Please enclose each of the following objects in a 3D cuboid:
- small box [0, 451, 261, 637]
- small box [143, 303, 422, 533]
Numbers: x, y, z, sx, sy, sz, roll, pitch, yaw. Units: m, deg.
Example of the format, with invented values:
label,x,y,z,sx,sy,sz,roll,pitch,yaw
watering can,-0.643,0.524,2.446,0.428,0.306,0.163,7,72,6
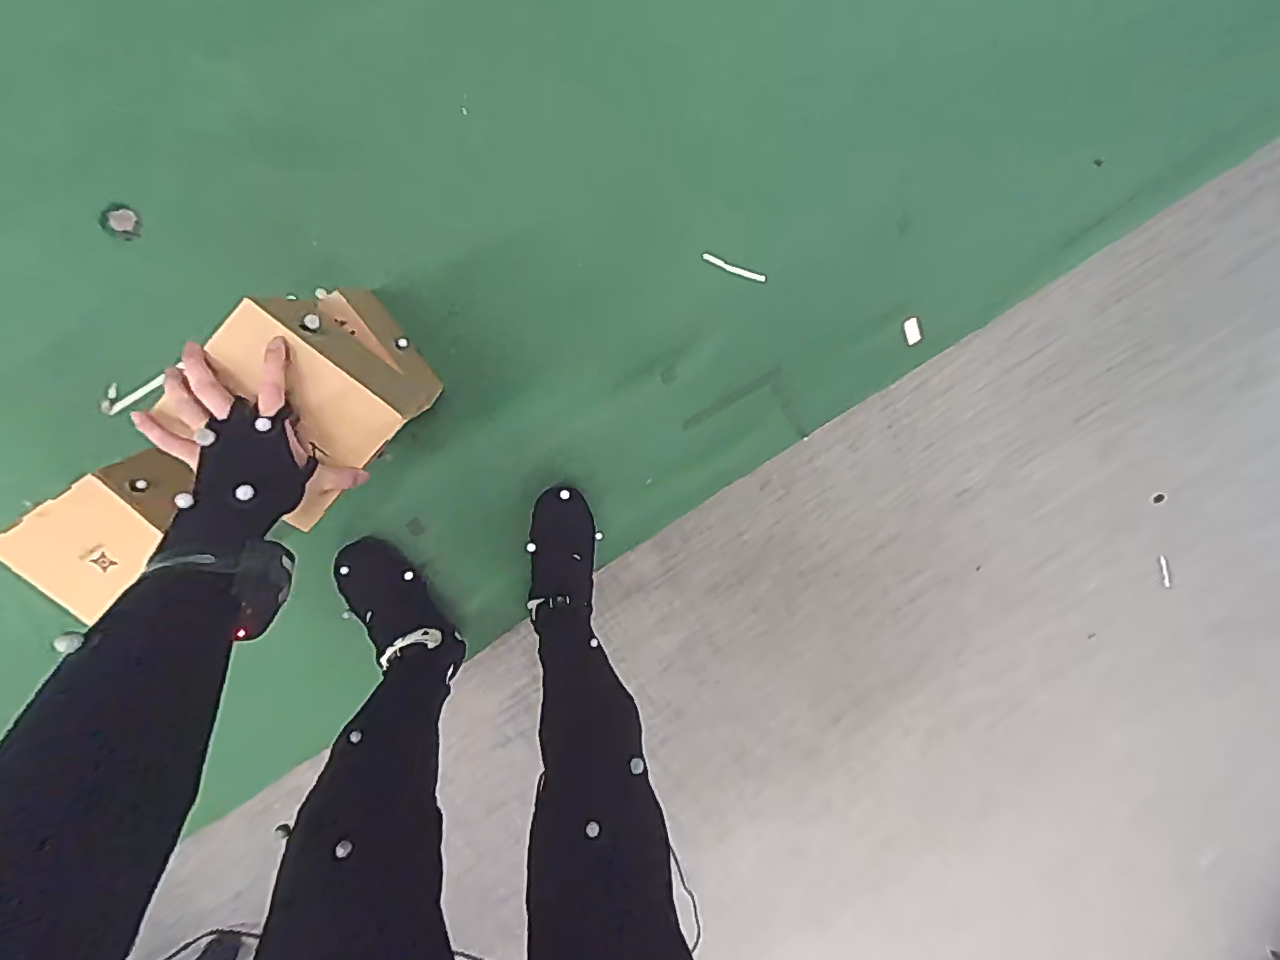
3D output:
label,x,y,z,sx,sy,sz,roll,pitch,yaw
small box,-0.703,0.080,0.777,0.168,0.176,0.179,-34,111,1
small box,-0.377,-0.075,0.611,0.179,0.176,0.168,40,94,-21
